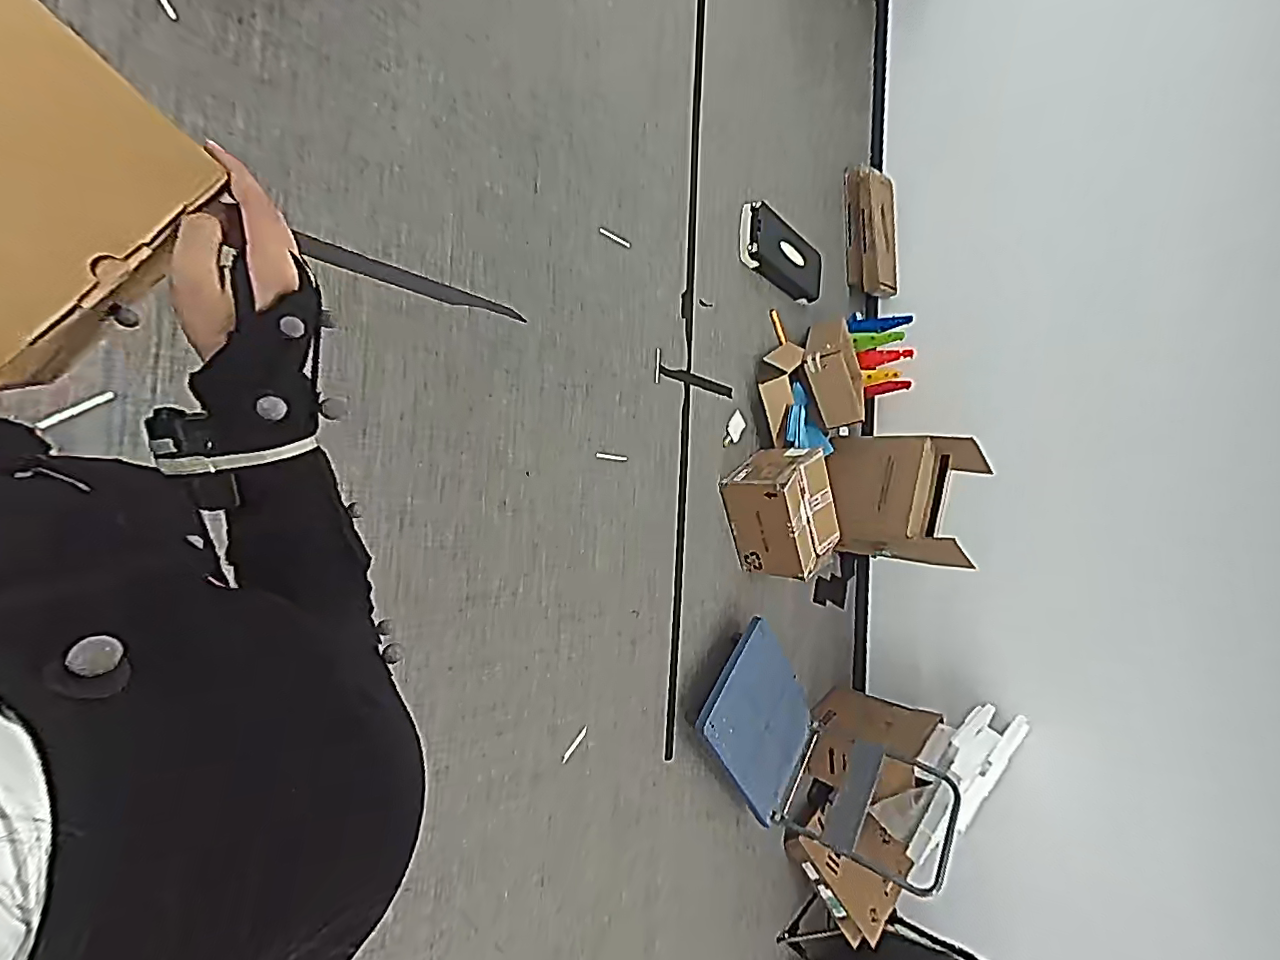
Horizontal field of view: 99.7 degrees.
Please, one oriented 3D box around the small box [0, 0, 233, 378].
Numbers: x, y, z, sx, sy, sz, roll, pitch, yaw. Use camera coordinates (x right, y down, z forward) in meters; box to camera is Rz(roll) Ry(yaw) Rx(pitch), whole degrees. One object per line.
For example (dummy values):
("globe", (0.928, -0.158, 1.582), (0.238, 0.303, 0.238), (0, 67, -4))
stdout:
("small box", (-0.375, -0.172, 0.295), (0.179, 0.176, 0.168), (47, 69, -38))
